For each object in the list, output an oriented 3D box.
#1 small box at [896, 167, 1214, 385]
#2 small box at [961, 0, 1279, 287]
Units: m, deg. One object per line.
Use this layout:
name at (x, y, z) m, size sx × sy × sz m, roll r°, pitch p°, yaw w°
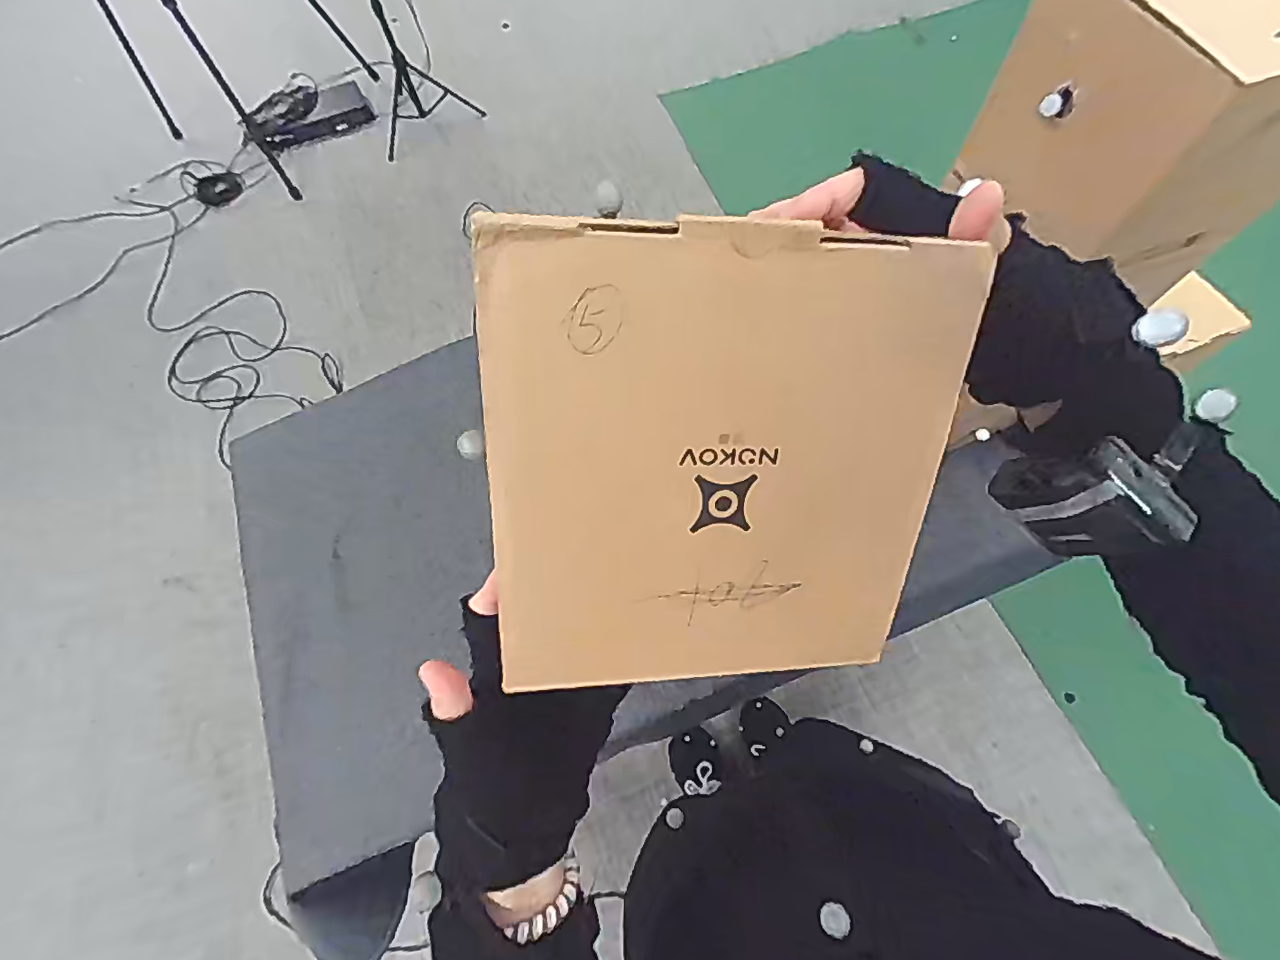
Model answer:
small box at (0.411, -0.223, 0.575) m, size 0.168 × 0.176 × 0.179 m, roll -19°, pitch 66°, yaw -4°
small box at (0.399, -0.289, 0.424) m, size 0.168 × 0.176 × 0.179 m, roll -18°, pitch 65°, yaw -3°
